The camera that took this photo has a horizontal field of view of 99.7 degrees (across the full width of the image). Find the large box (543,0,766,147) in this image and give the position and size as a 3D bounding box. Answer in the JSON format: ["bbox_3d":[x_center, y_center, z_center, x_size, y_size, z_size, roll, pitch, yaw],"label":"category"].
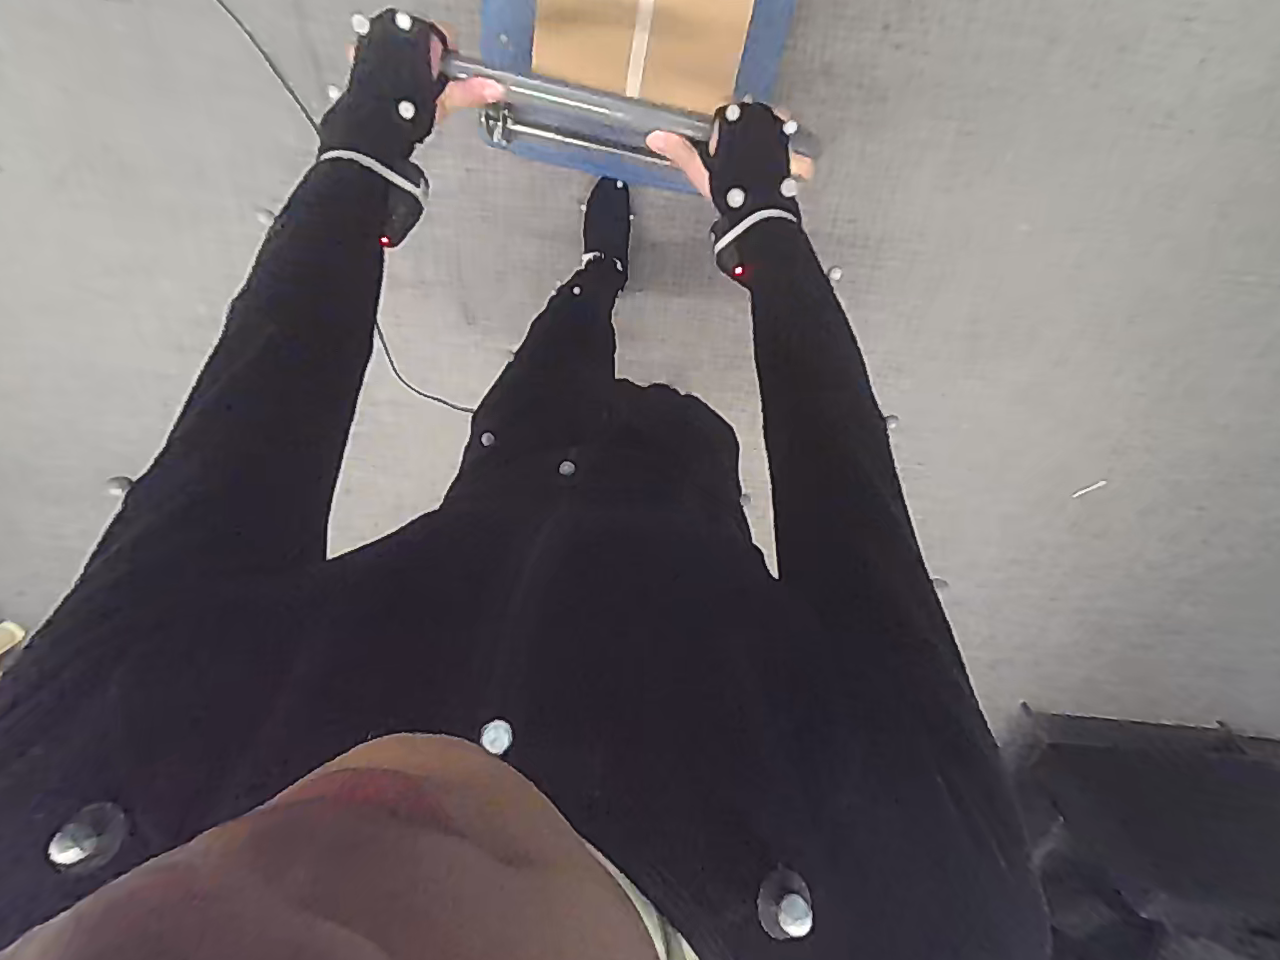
[{"bbox_3d":[0.038,-0.814,0.886,0.320,0.320,0.408,10,118,-5],"label":"large box"}]
